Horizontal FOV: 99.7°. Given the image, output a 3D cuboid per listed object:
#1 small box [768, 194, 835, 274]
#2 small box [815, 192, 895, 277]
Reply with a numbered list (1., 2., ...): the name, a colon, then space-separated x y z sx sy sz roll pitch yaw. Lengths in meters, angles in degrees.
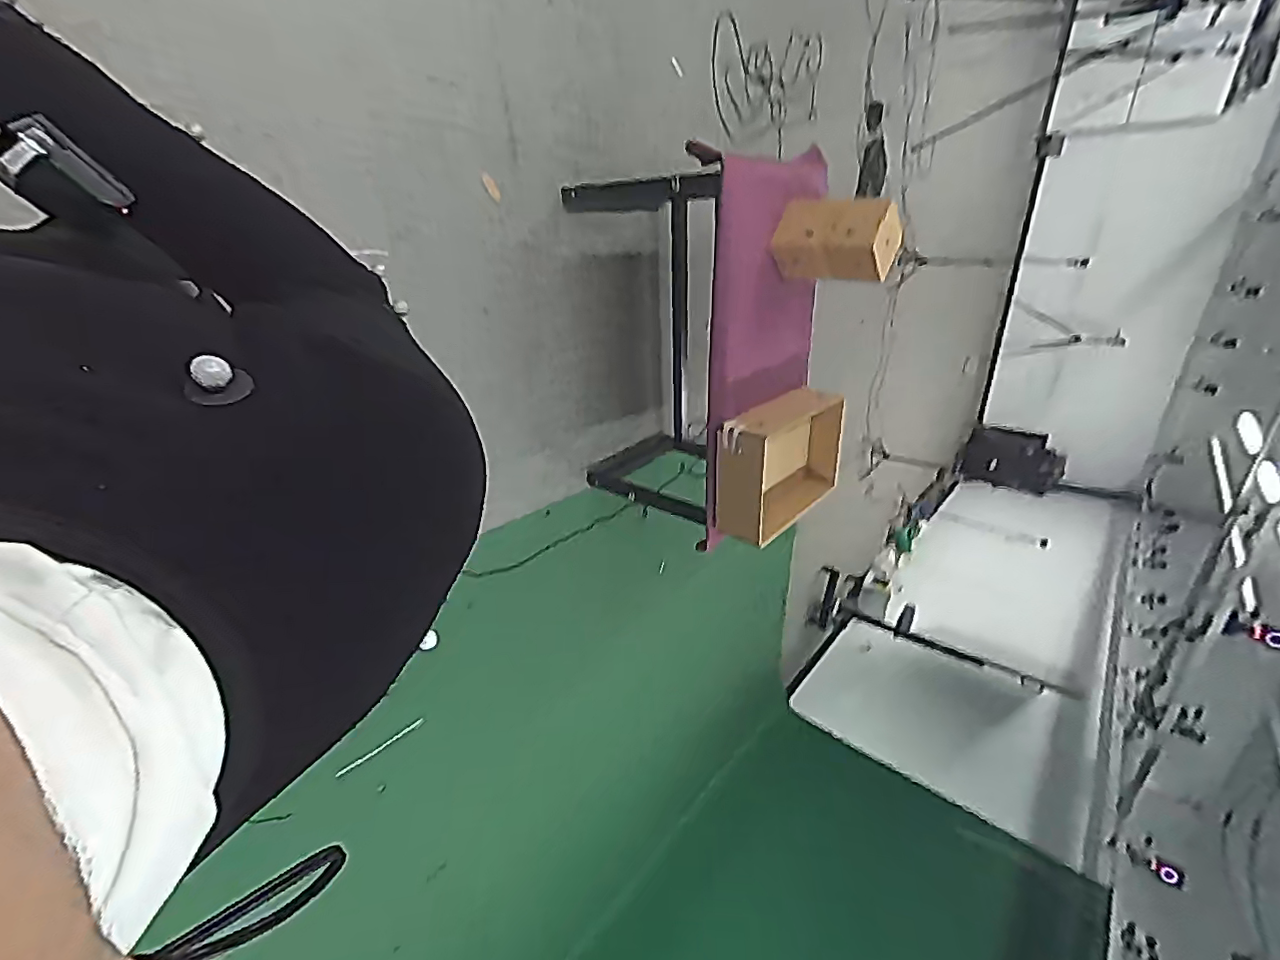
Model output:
1. small box: 0.531 -0.791 1.748 0.168 0.176 0.179 35 77 -53
2. small box: 0.657 -0.745 1.655 0.179 0.176 0.168 35 79 -52
